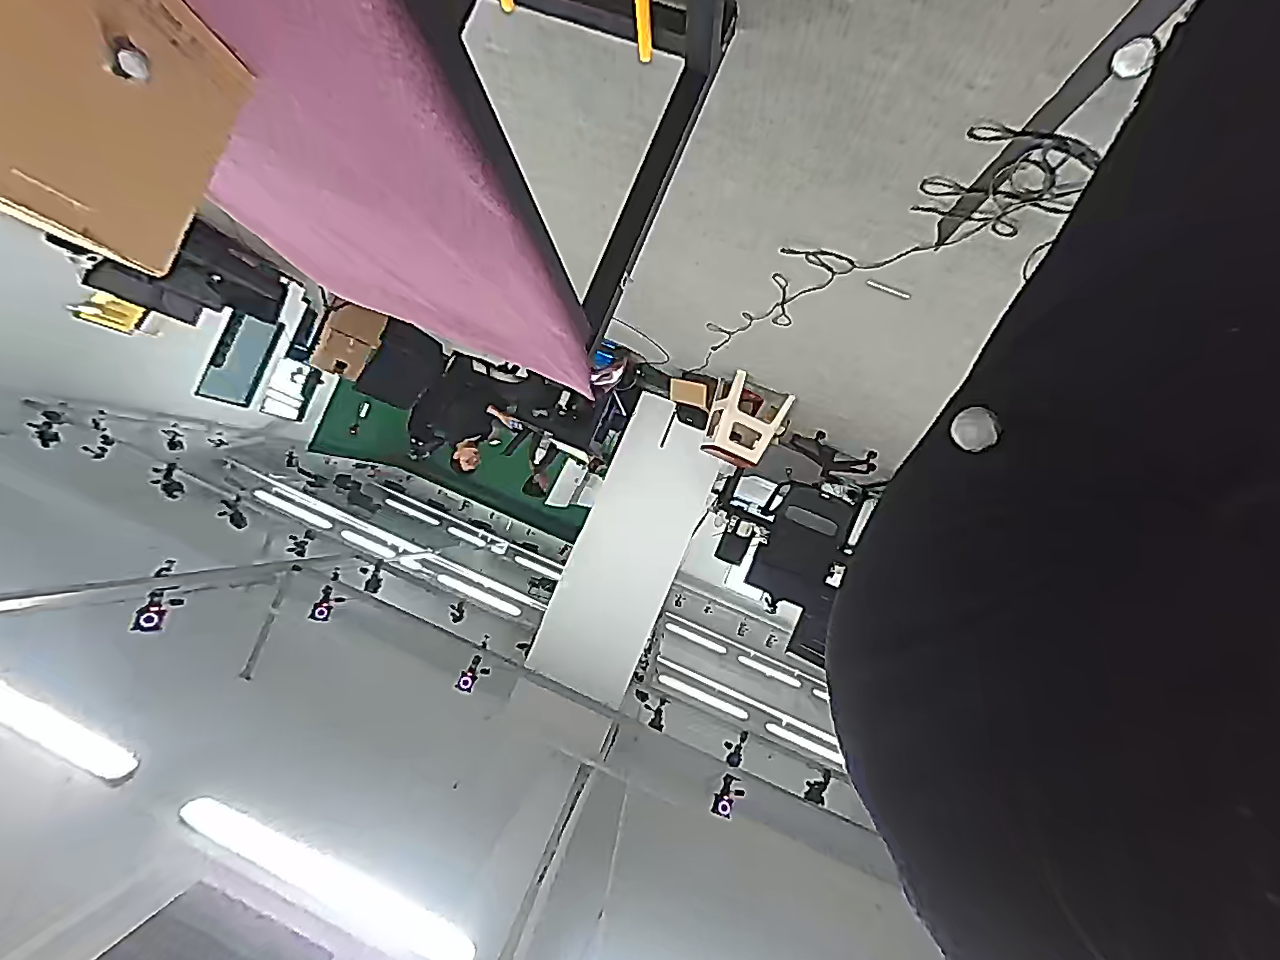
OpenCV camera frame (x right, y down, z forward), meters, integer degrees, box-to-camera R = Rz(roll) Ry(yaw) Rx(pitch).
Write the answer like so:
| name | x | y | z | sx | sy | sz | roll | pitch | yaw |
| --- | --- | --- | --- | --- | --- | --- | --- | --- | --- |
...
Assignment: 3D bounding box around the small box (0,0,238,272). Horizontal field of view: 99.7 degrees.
| name | x | y | z | sx | sy | sz | roll | pitch | yaw |
| --- | --- | --- | --- | --- | --- | --- | --- | --- | --- |
| small box | -0.402 | -0.265 | 0.325 | 0.179 | 0.176 | 0.168 | 23 | 179 | 3 |
